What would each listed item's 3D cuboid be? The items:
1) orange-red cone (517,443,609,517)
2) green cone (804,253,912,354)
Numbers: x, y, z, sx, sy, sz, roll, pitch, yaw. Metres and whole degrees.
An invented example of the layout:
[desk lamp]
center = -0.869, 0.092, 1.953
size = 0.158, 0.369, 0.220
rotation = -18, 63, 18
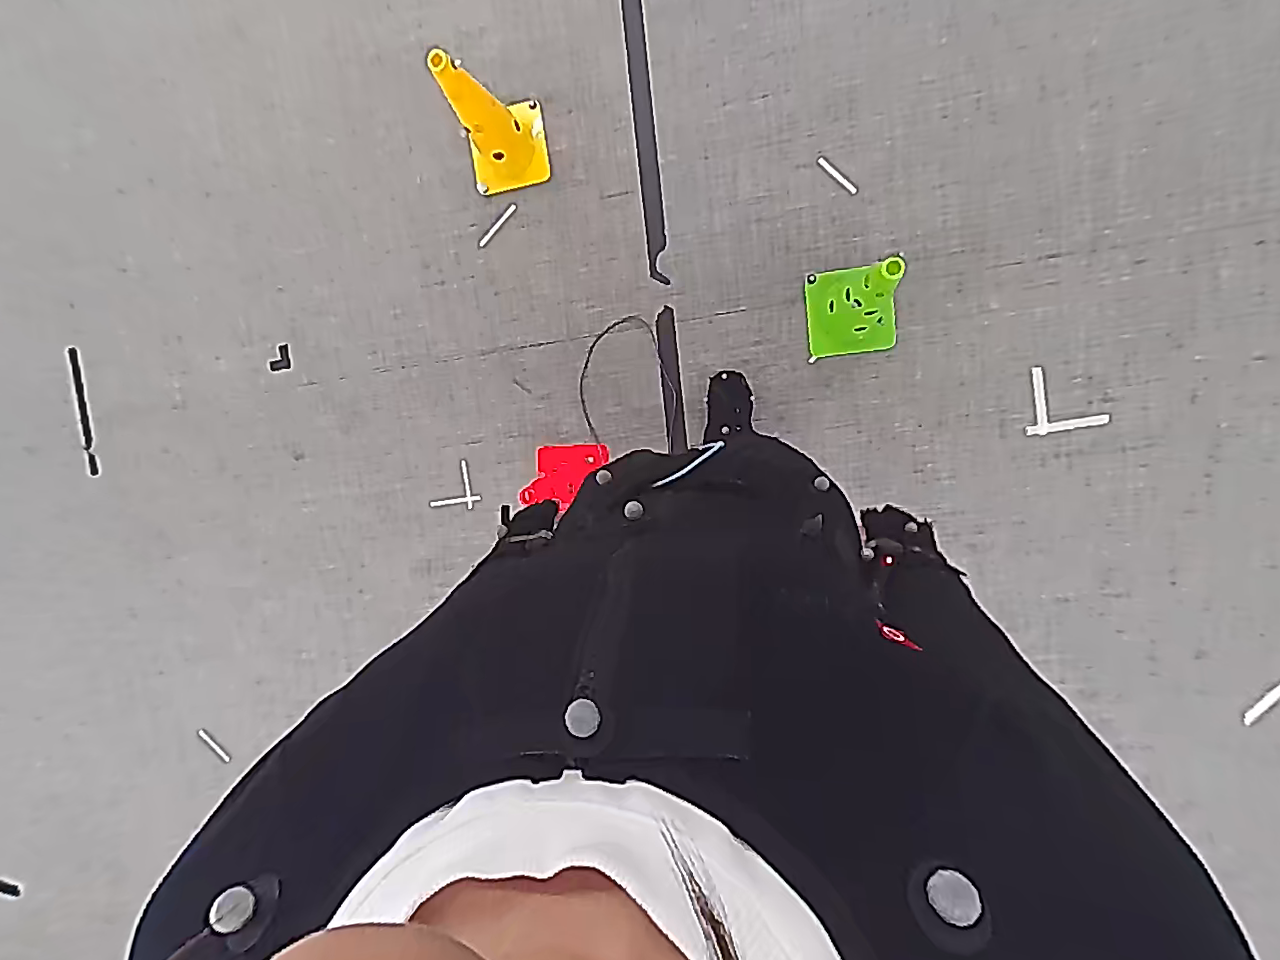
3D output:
[orange-red cone]
center = -0.210, 0.014, 1.285
size = 0.199, 0.360, 0.198
rotation = -1, 94, 10
[green cone]
center = 0.479, -0.393, 1.129
size = 0.202, 0.368, 0.200
rotation = -6, 95, 9
